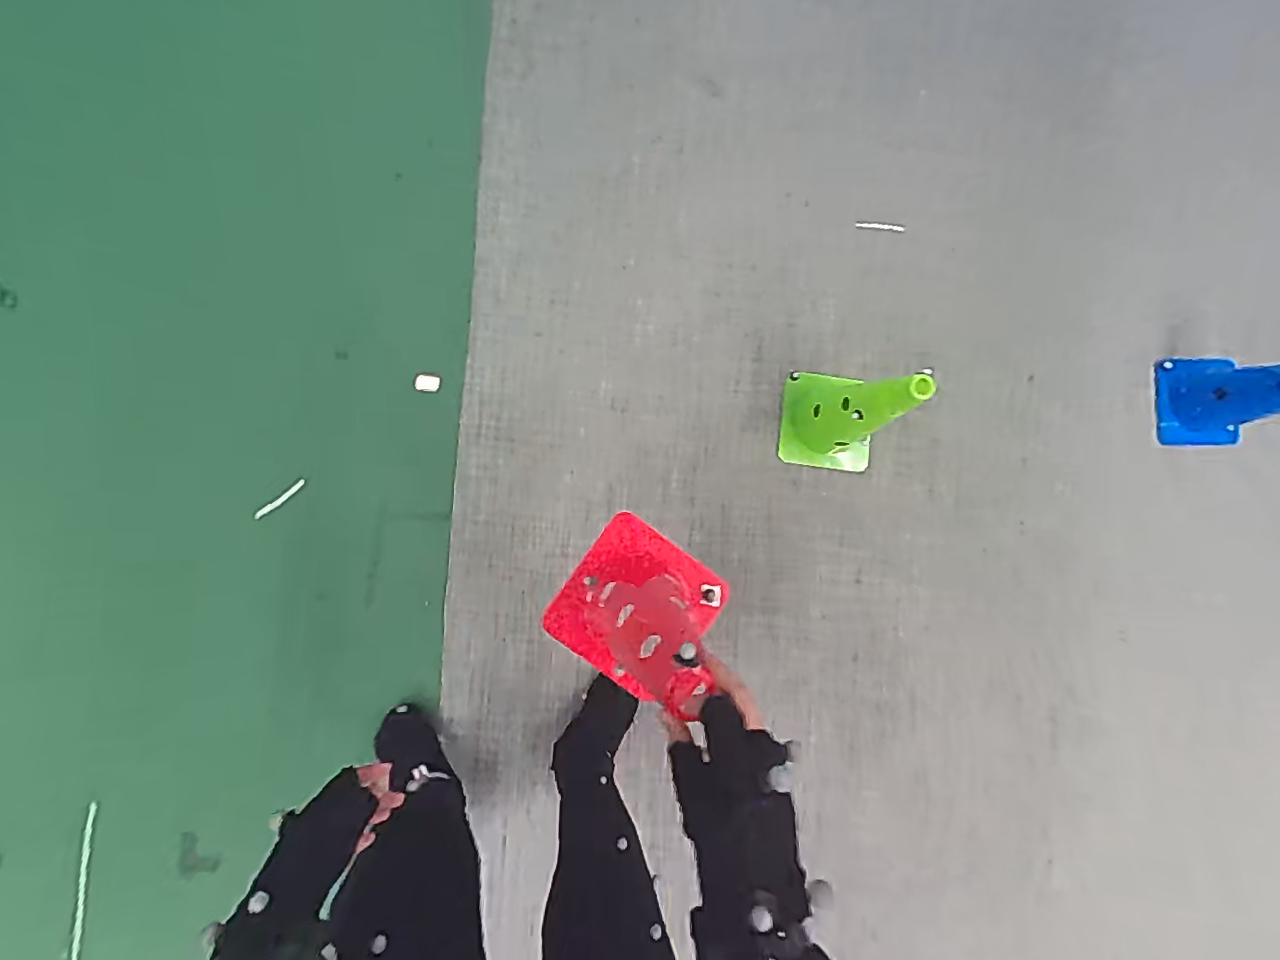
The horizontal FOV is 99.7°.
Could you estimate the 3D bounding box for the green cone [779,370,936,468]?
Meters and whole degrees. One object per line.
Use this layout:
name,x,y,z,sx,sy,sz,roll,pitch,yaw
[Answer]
green cone,0.419,-0.139,1.009,0.202,0.368,0.200,6,87,-4
